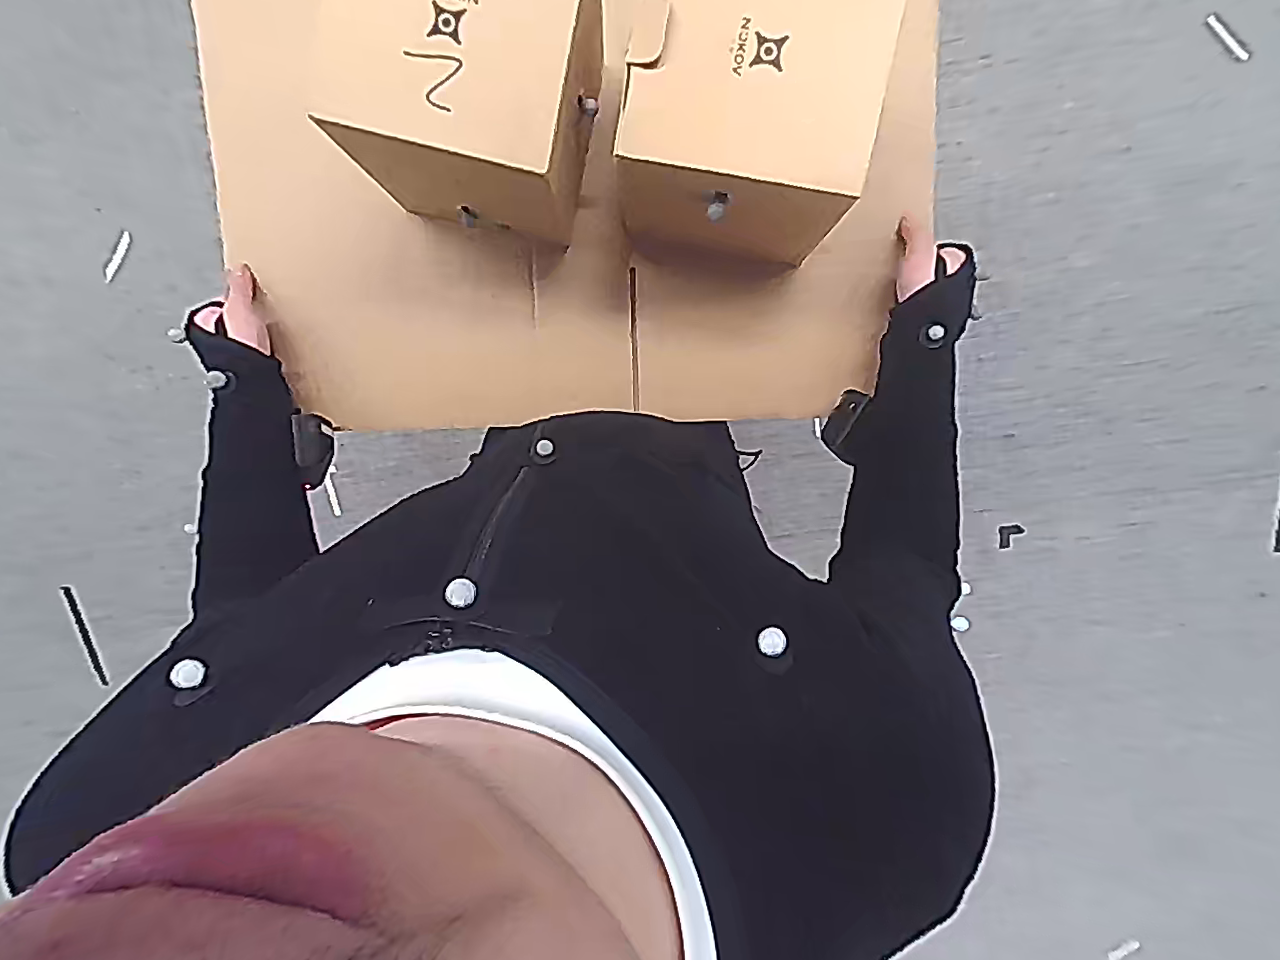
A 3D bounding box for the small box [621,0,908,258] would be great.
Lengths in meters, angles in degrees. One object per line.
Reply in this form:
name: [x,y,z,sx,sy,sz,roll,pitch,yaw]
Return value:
small box: [0.090,-0.300,0.454,0.179,0.176,0.168,11,98,2]
